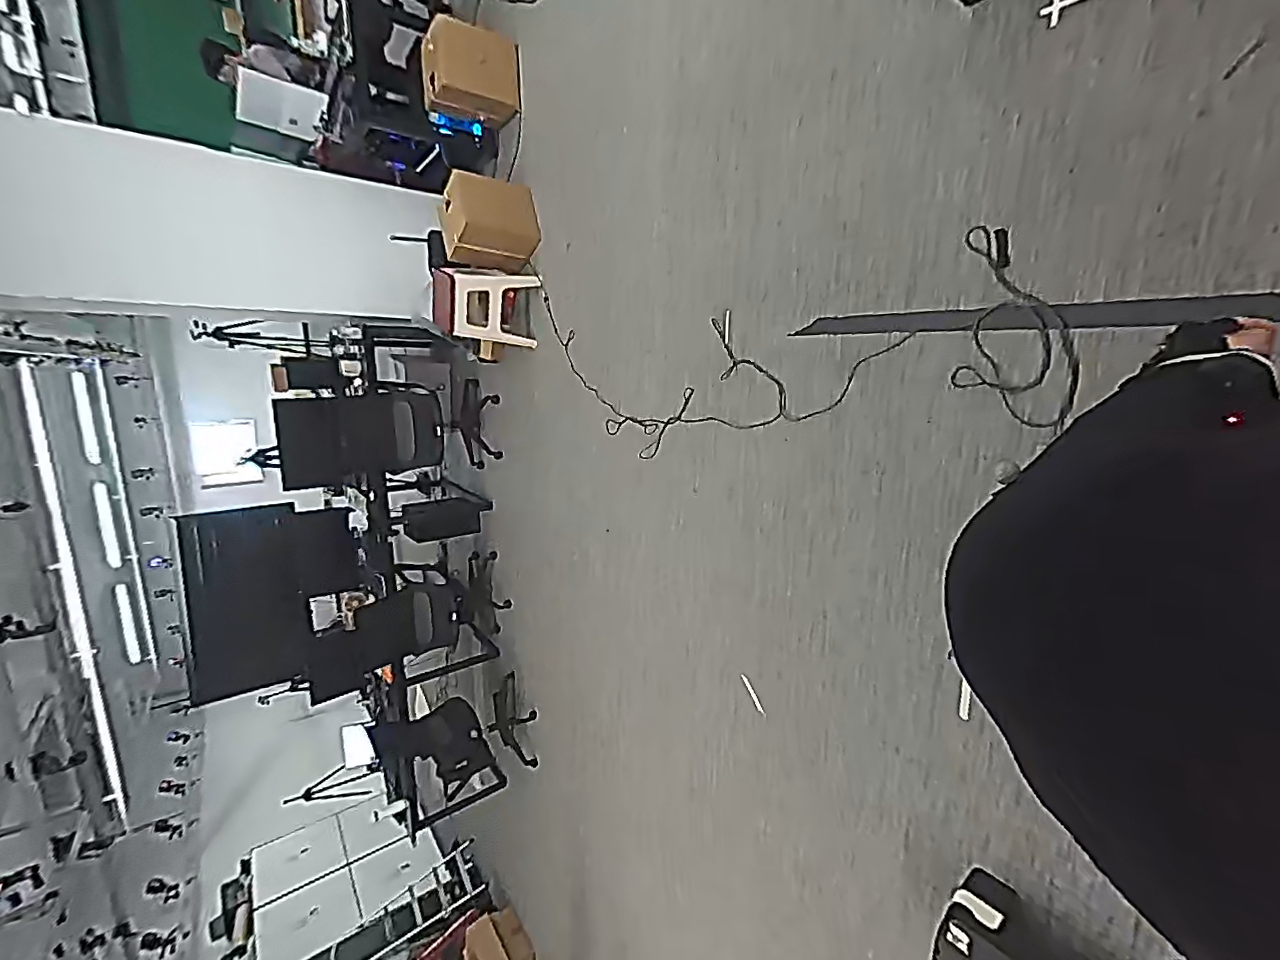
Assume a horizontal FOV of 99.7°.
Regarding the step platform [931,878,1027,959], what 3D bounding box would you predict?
[{"bbox_3d":[0.997,1.239,1.145,0.684,0.204,0.286,15,110,51],"label":"step platform"}]
